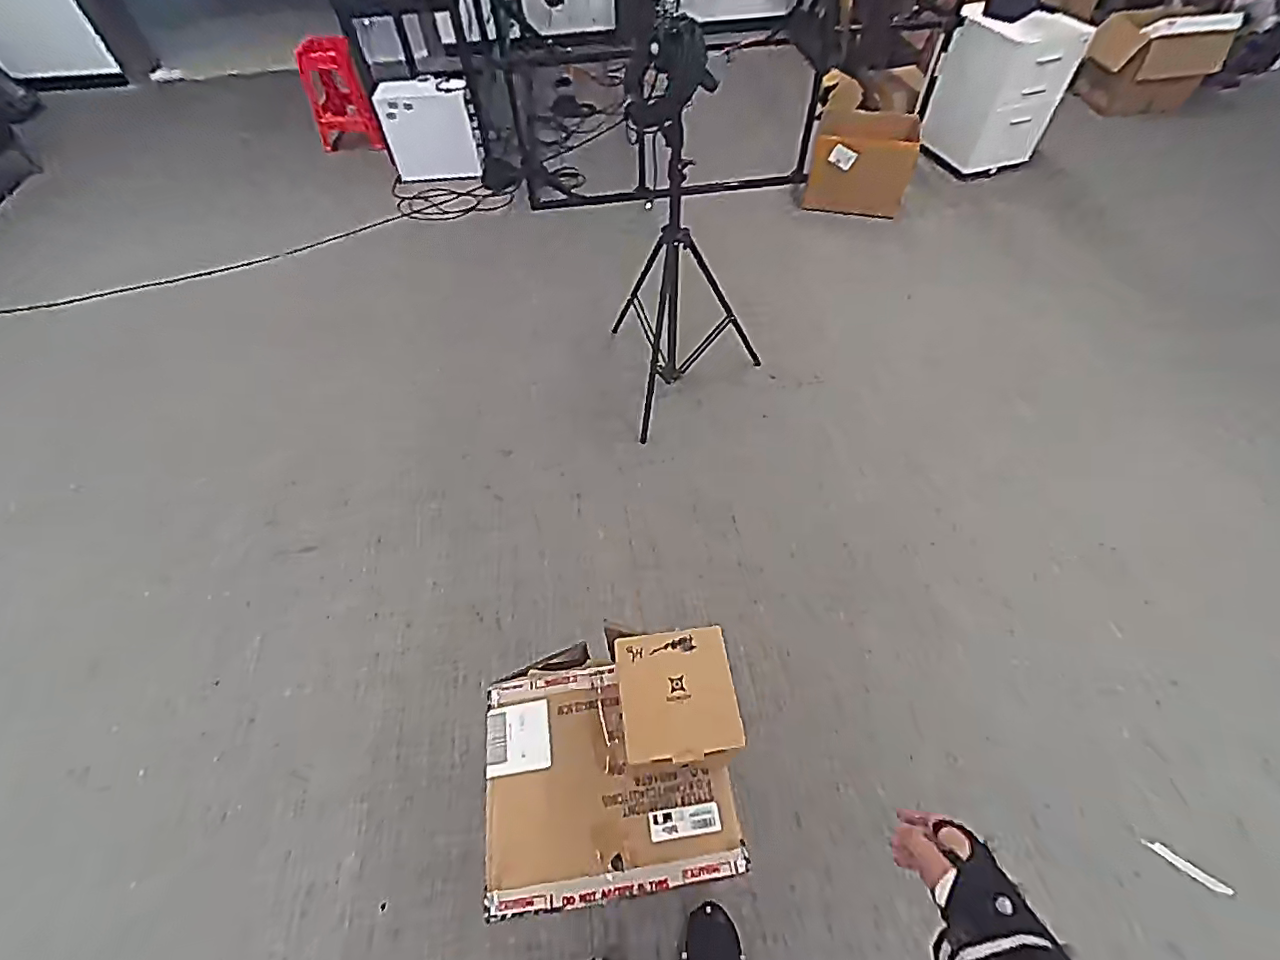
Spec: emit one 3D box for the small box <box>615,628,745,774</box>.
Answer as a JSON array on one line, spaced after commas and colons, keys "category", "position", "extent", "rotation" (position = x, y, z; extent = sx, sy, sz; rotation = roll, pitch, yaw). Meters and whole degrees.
[{"category": "small box", "position": [0.054, 0.348, 0.840], "extent": [0.168, 0.176, 0.179], "rotation": [-6, 57, -5]}]
